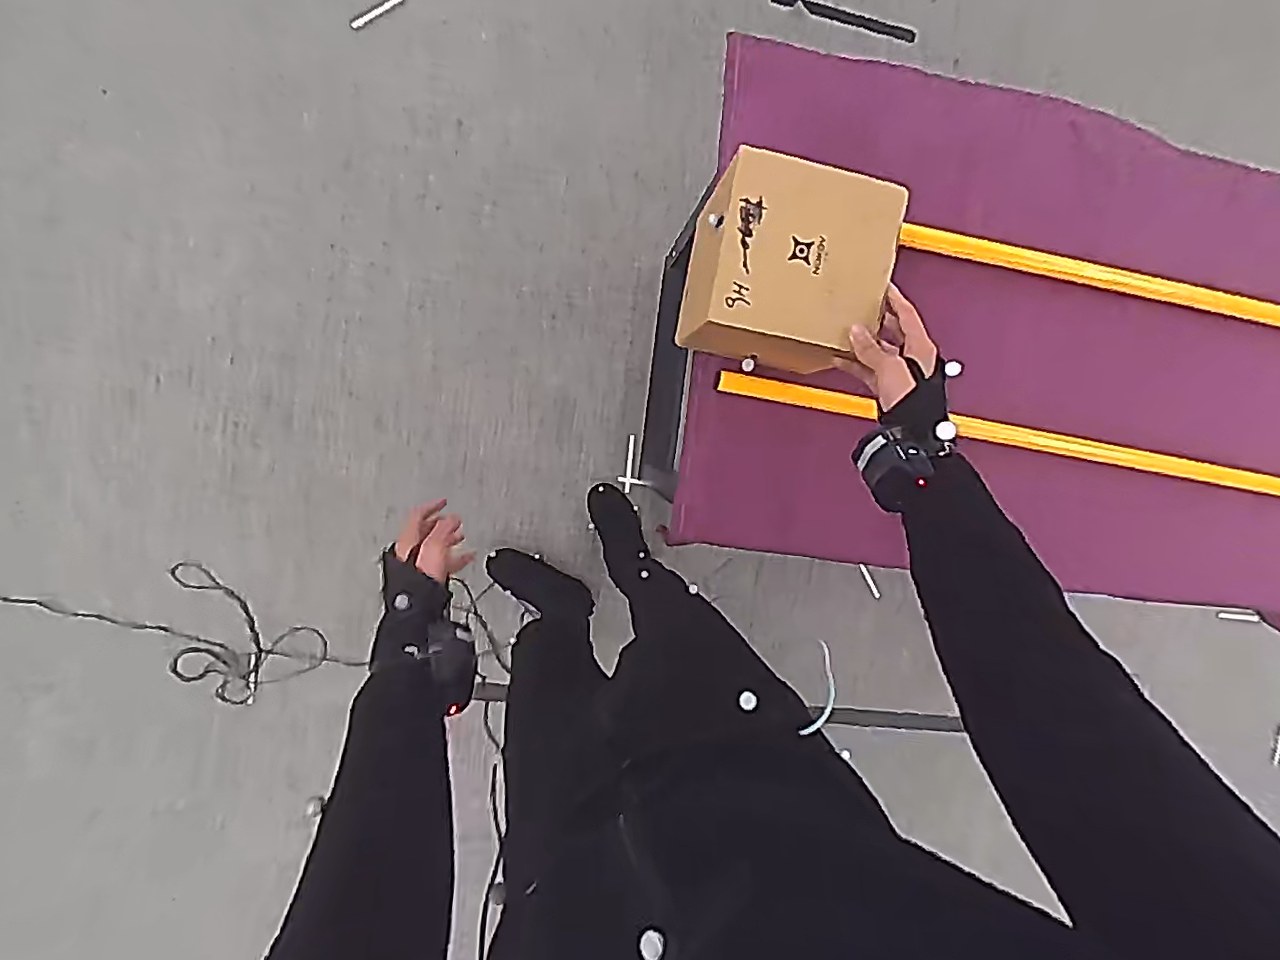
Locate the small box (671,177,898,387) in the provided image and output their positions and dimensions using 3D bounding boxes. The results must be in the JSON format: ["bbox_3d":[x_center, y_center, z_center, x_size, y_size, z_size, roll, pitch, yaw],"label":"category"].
[{"bbox_3d":[0.147,-0.201,0.607,0.179,0.176,0.168,10,94,-8],"label":"small box"}]
